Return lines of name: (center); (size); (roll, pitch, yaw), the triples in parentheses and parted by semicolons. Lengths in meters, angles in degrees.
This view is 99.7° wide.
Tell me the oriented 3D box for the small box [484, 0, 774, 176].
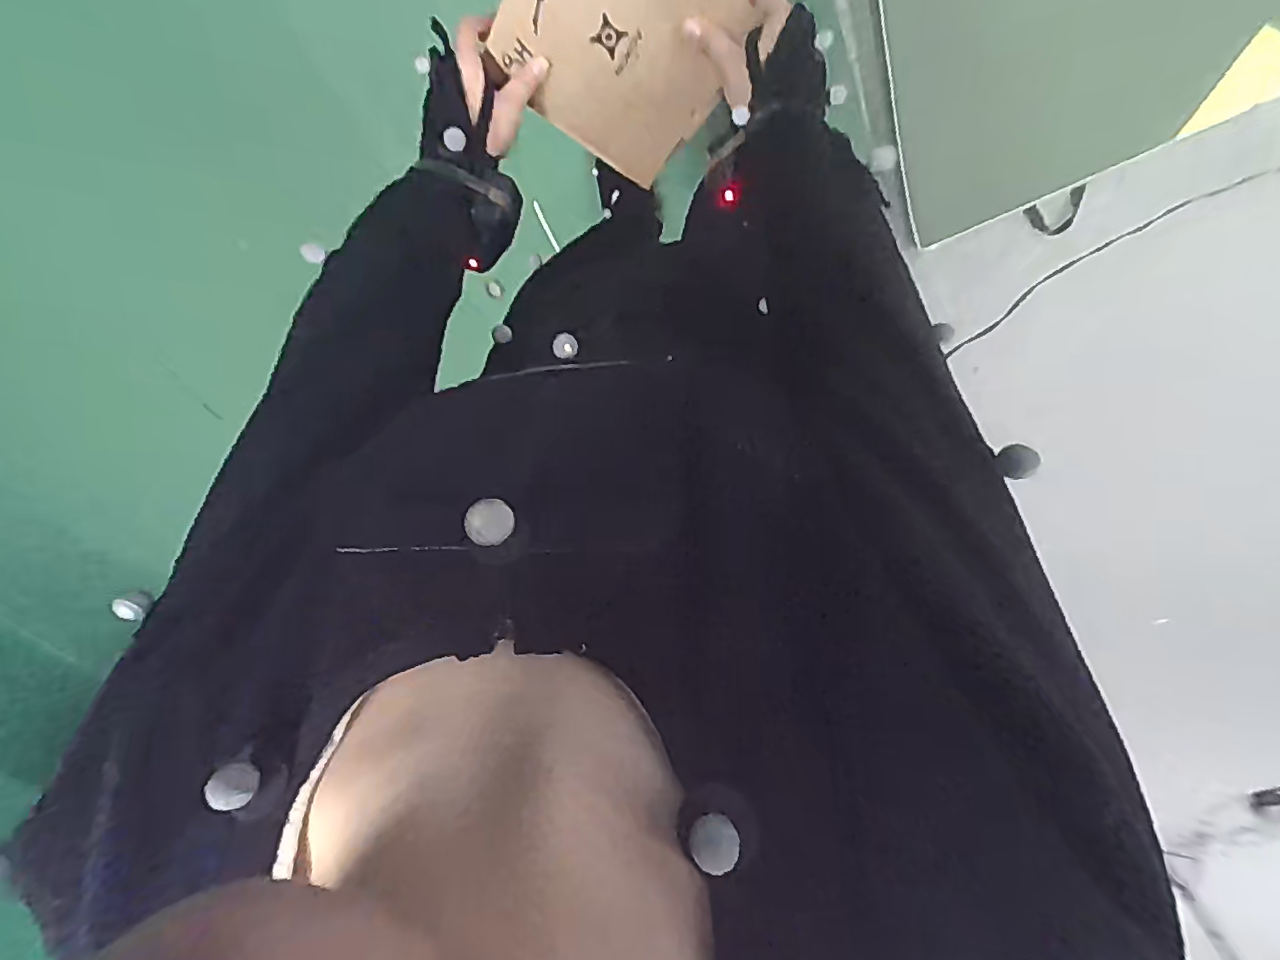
small box: (-0.007, -0.422, 0.468); (0.179, 0.176, 0.168); (23, 143, -29)
